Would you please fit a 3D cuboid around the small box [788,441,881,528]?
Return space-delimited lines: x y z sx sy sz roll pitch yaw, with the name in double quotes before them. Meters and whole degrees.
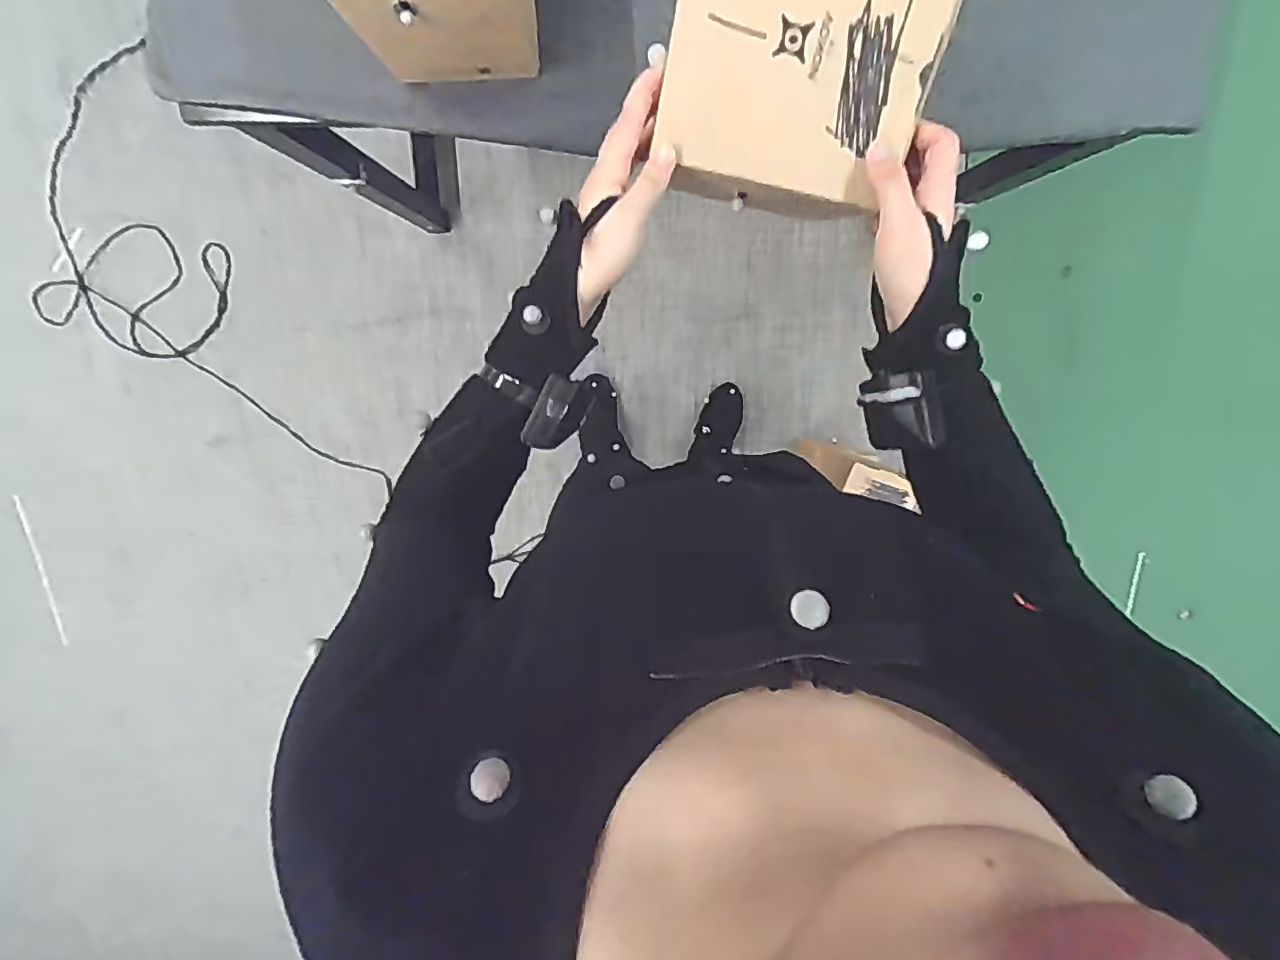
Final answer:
"small box" 0.496 0.007 1.409 0.168 0.176 0.179 8 104 -2

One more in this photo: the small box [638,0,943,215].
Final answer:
"small box" 0.101 -0.315 0.424 0.179 0.176 0.168 11 113 -3

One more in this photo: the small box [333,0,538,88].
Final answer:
"small box" -0.198 -0.521 0.527 0.168 0.176 0.179 -2 104 0
